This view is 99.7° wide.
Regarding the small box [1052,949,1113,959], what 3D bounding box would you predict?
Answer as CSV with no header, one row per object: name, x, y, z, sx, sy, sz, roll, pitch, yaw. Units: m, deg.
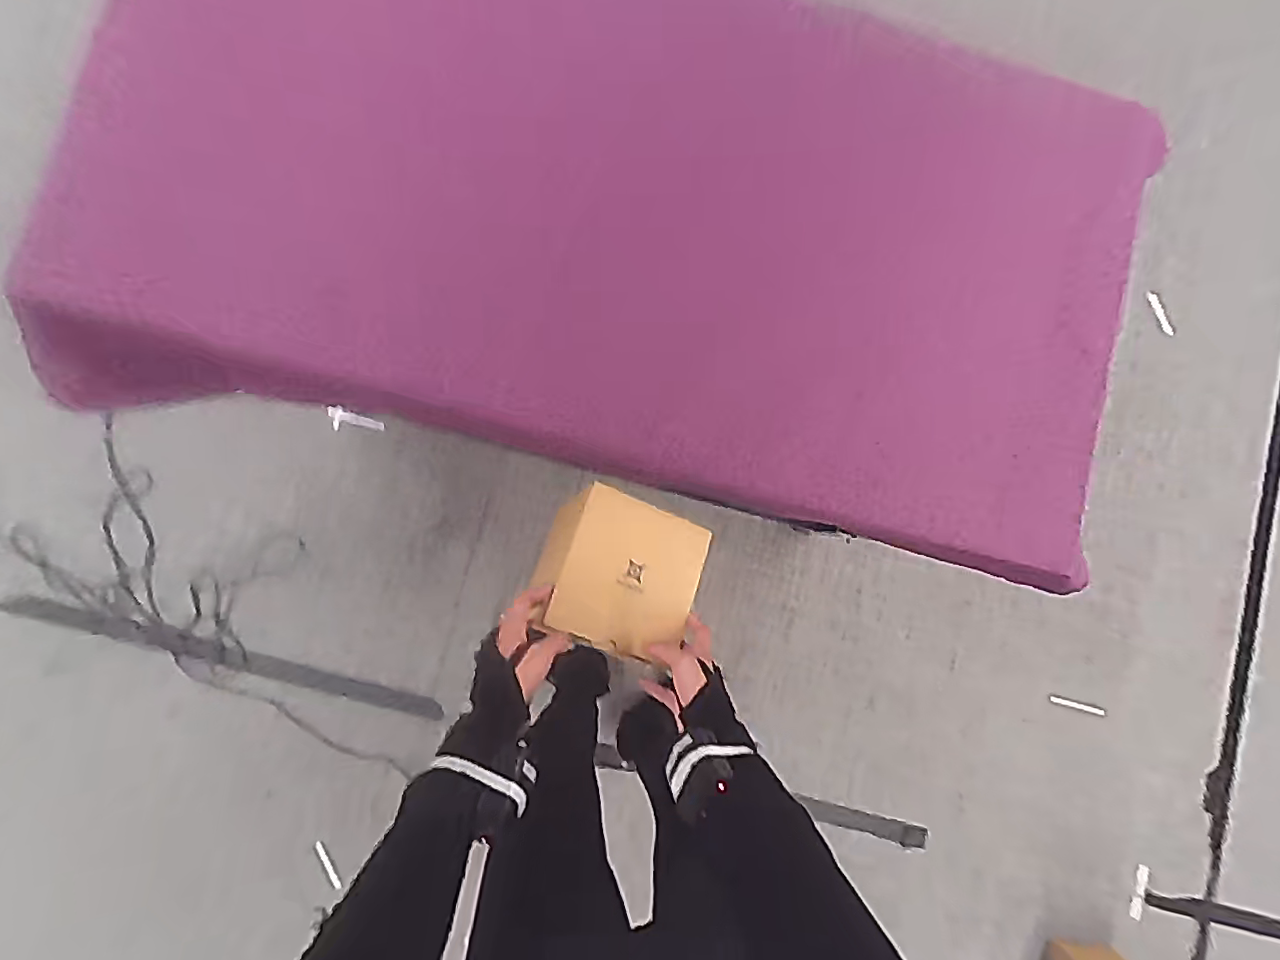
small box,1.103,1.255,1.266,0.179,0.176,0.168,12,86,-3
